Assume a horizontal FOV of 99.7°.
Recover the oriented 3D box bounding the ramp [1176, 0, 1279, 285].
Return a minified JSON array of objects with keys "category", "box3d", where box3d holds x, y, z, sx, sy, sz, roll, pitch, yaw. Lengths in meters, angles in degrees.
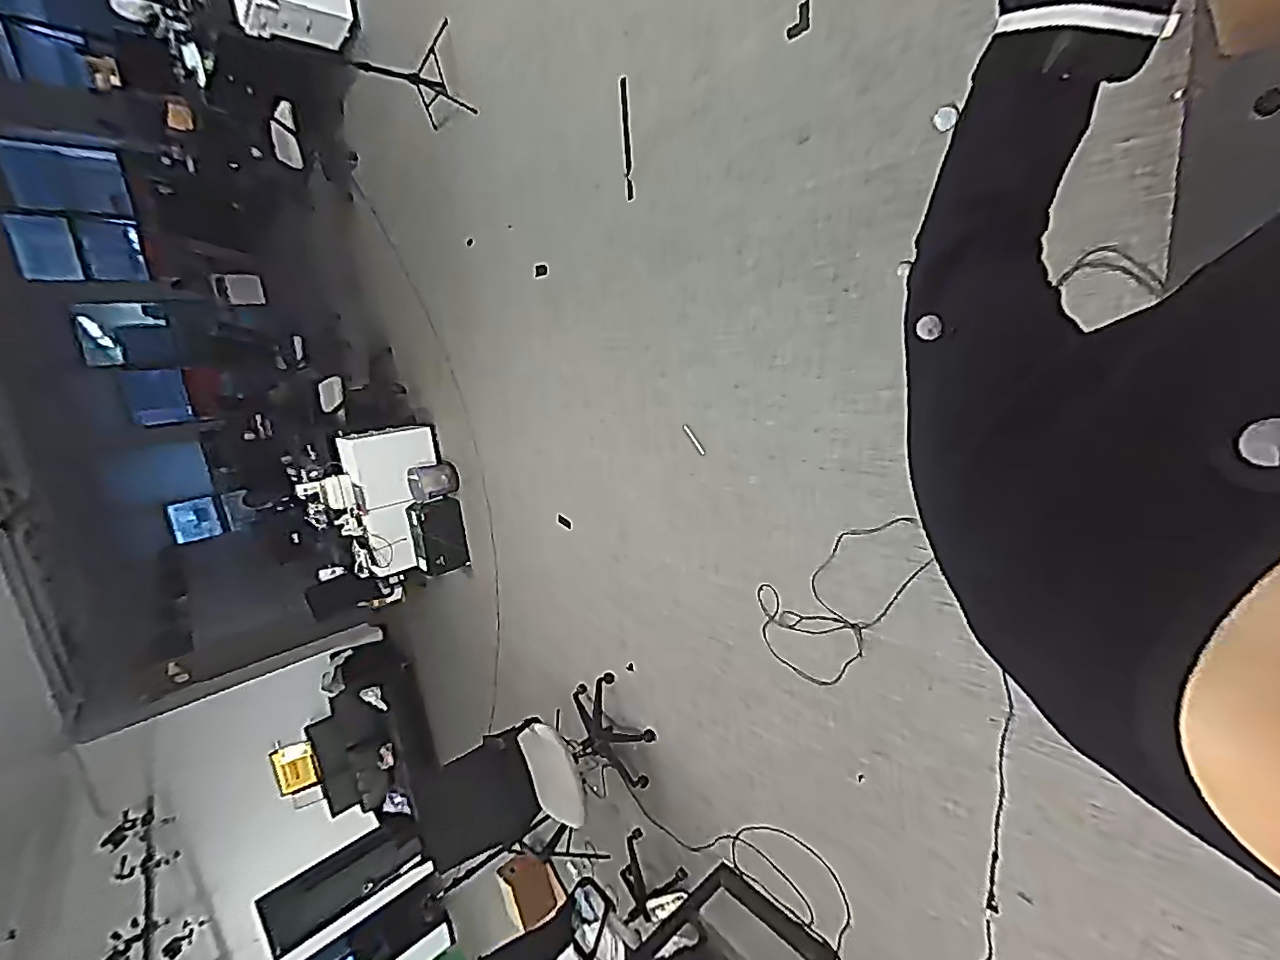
[{"category":"ramp","box3d":[1.082,-0.802,0.696,0.509,0.206,0.991,7,109,48]}]
